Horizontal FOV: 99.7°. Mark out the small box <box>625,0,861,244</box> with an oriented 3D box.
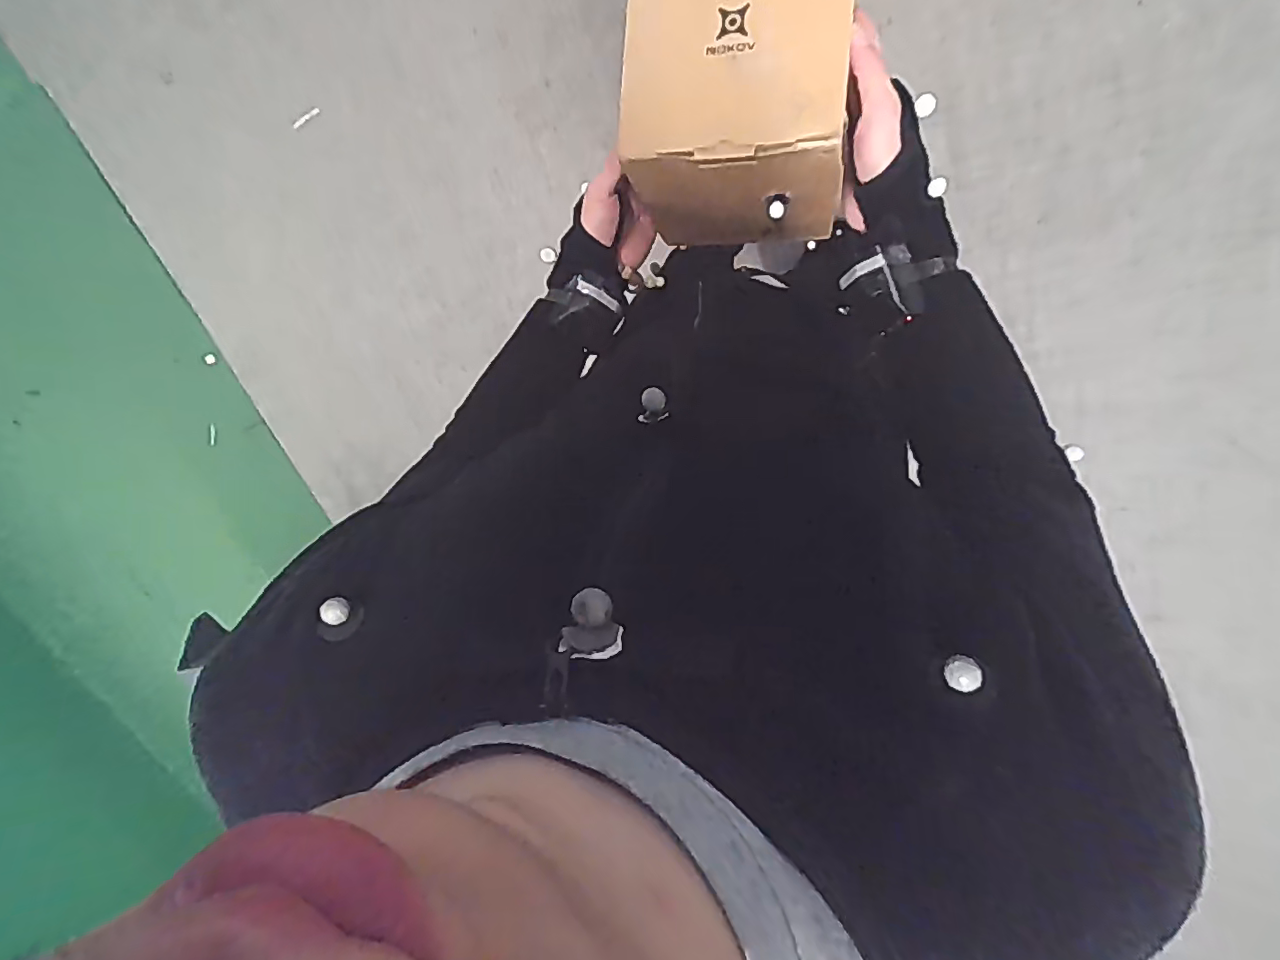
[{"bbox_3d":[0.095,-0.320,0.468,0.168,0.176,0.179,4,90,16],"label":"small box"}]
